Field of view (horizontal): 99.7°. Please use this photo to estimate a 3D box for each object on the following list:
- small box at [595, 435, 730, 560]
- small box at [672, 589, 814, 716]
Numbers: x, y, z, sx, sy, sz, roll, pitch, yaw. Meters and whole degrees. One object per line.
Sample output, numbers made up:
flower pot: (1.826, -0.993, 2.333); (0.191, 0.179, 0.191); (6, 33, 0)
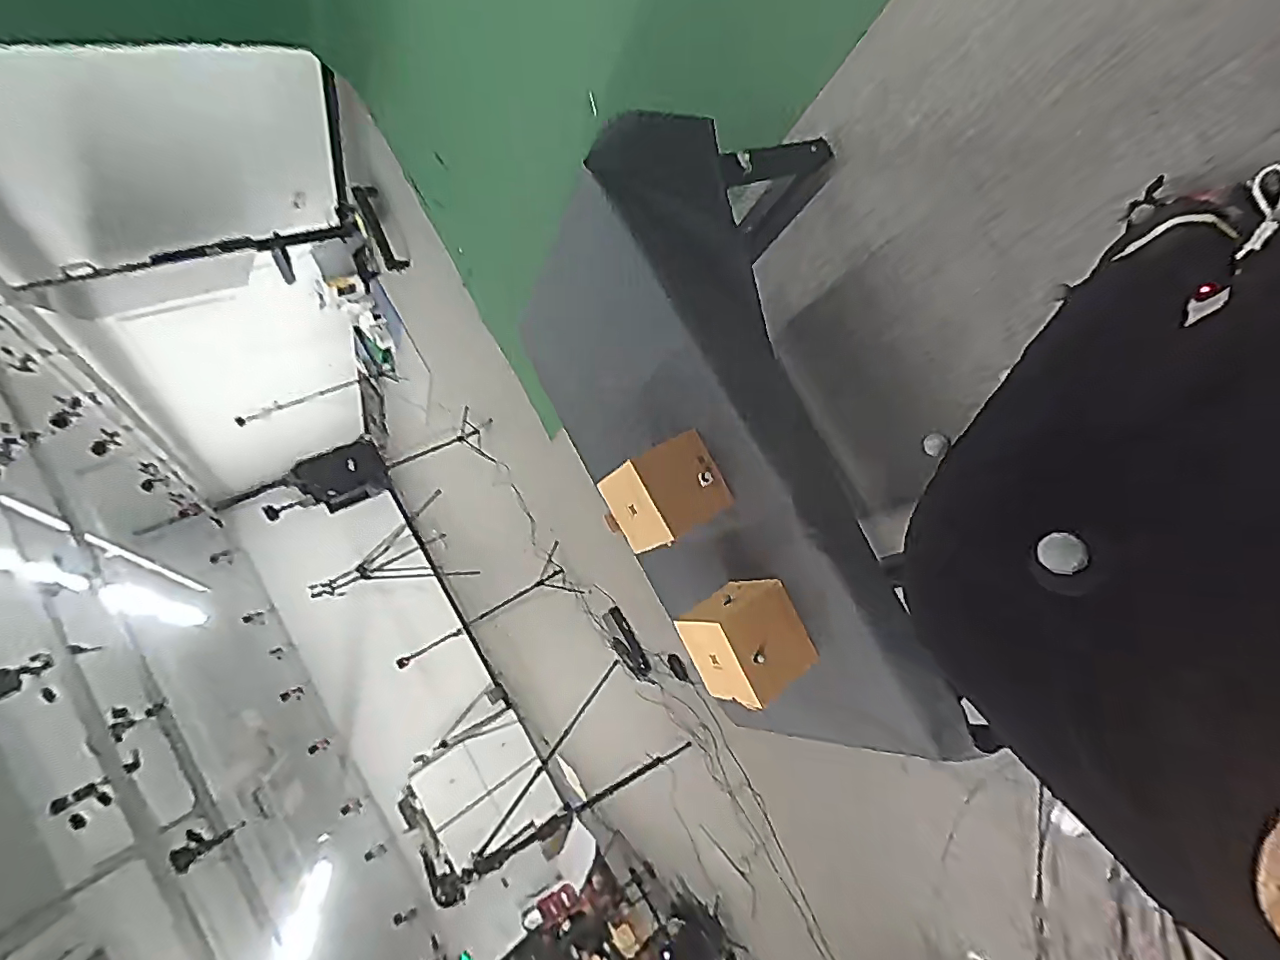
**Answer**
small box: (0.043, 0.035, 1.064); (0.168, 0.176, 0.179); (60, 149, 3)
small box: (0.200, 0.322, 1.051); (0.168, 0.176, 0.179); (-26, 91, 59)
